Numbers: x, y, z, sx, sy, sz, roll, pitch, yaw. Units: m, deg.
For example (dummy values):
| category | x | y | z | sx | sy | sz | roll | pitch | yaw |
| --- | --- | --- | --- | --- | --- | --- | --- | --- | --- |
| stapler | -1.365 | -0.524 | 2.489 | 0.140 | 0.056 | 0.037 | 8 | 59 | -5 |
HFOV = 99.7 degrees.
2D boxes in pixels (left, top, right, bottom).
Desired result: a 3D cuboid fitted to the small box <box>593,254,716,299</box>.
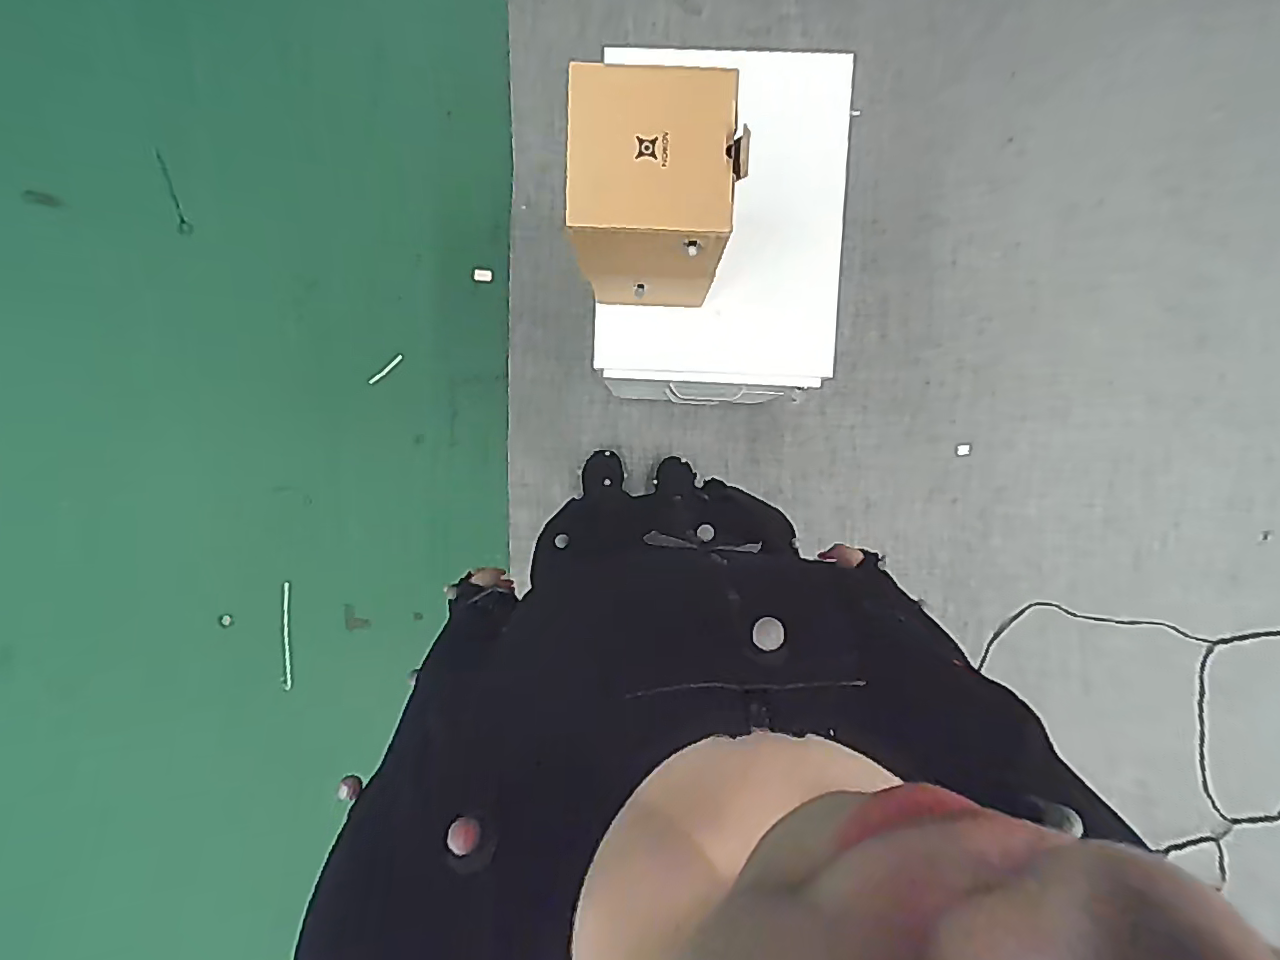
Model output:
| category | x | y | z | sx | sy | sz | roll | pitch | yaw |
| --- | --- | --- | --- | --- | --- | --- | --- | --- | --- |
| small box | 0.019 | -0.369 | 0.790 | 0.179 | 0.176 | 0.168 | 2 | 95 | 1 |

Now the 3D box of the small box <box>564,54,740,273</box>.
| category | x | y | z | sx | sy | sz | roll | pitch | yaw |
| --- | --- | --- | --- | --- | --- | --- | --- | --- | --- |
| small box | 0.012 | -0.349 | 0.629 | 0.179 | 0.176 | 0.168 | 2 | 94 | 0 |
